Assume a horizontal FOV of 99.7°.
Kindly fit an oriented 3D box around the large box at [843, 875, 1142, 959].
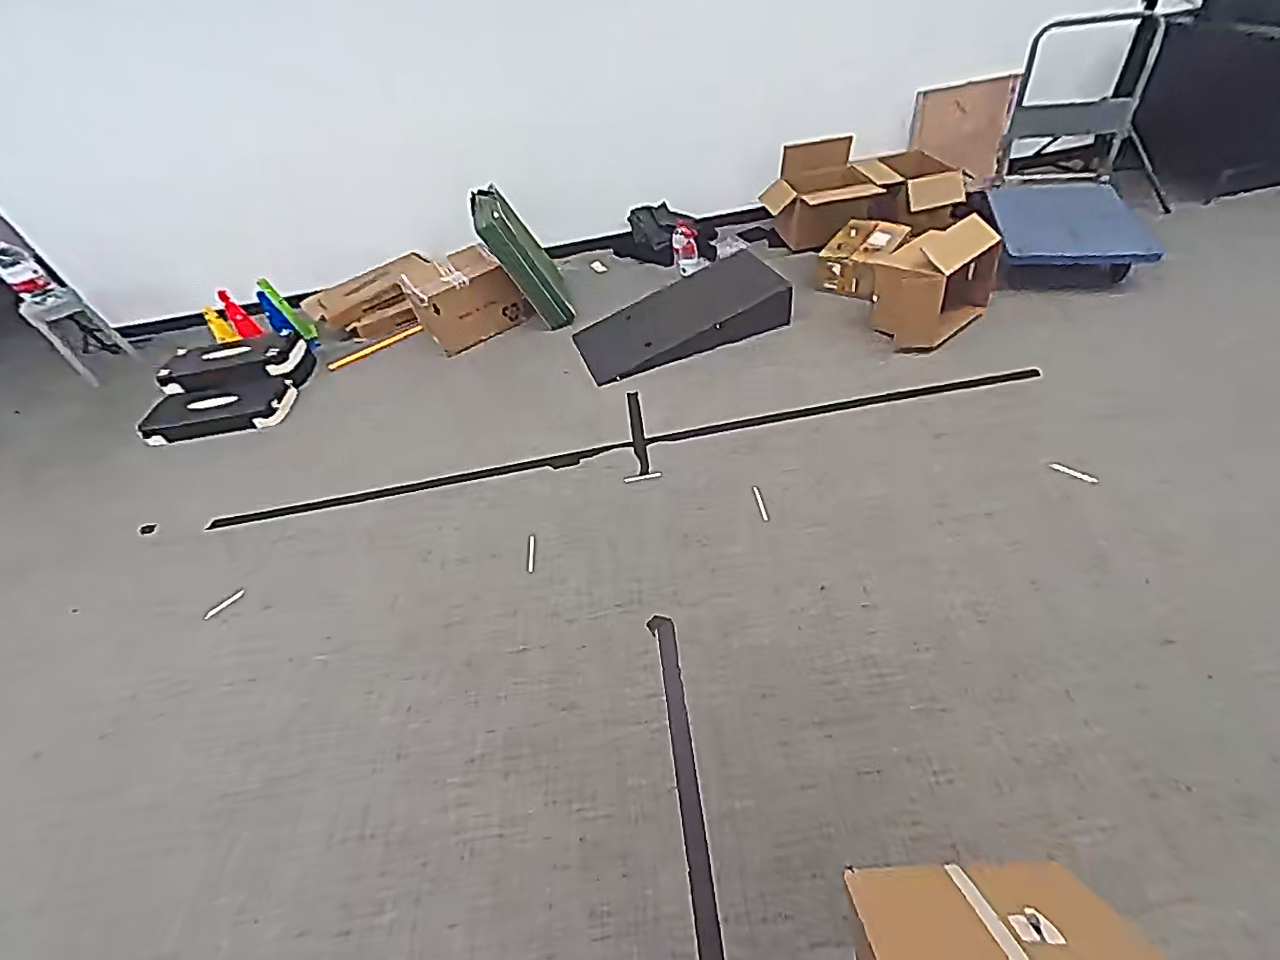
[{"bbox_3d":[0.453,0.725,0.595,0.320,0.408,0.320,-5,82,6],"label":"large box"}]
